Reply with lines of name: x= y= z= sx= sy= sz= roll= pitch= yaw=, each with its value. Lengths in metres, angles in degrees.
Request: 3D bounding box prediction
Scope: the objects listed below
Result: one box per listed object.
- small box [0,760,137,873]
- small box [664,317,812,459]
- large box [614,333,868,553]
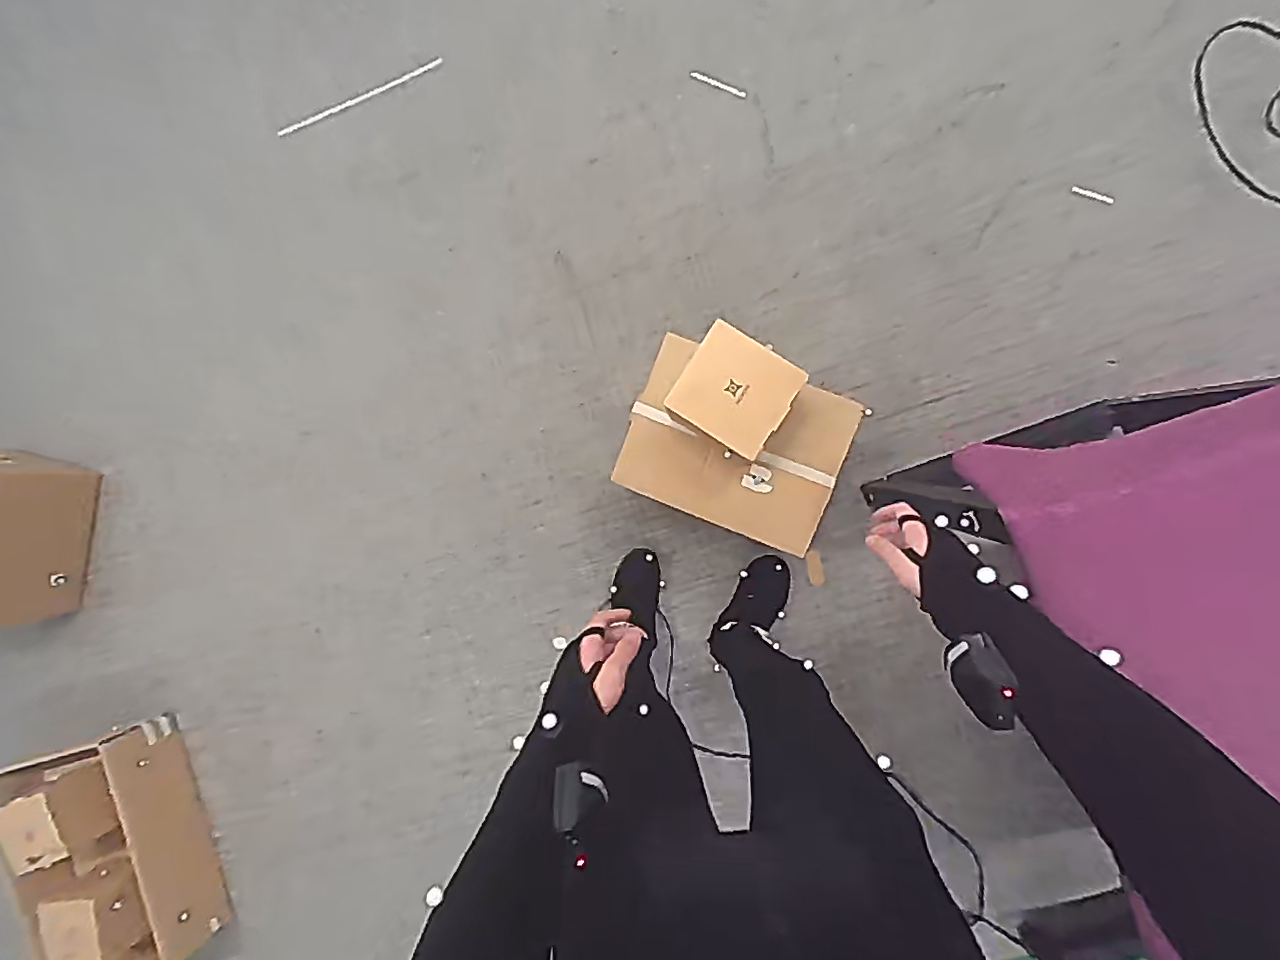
small box: x=-1.488 y=0.864 z=1.411 sx=0.168 sy=0.176 sz=0.179 roll=-22 pitch=90 yaw=6
small box: x=0.158 y=-0.144 z=0.923 sx=0.179 sy=0.176 sz=0.168 roll=33 pitch=94 yaw=4
large box: x=0.197 y=-0.078 z=1.167 sx=0.408 sy=0.320 sz=0.320 roll=21 pitch=96 yaw=4
